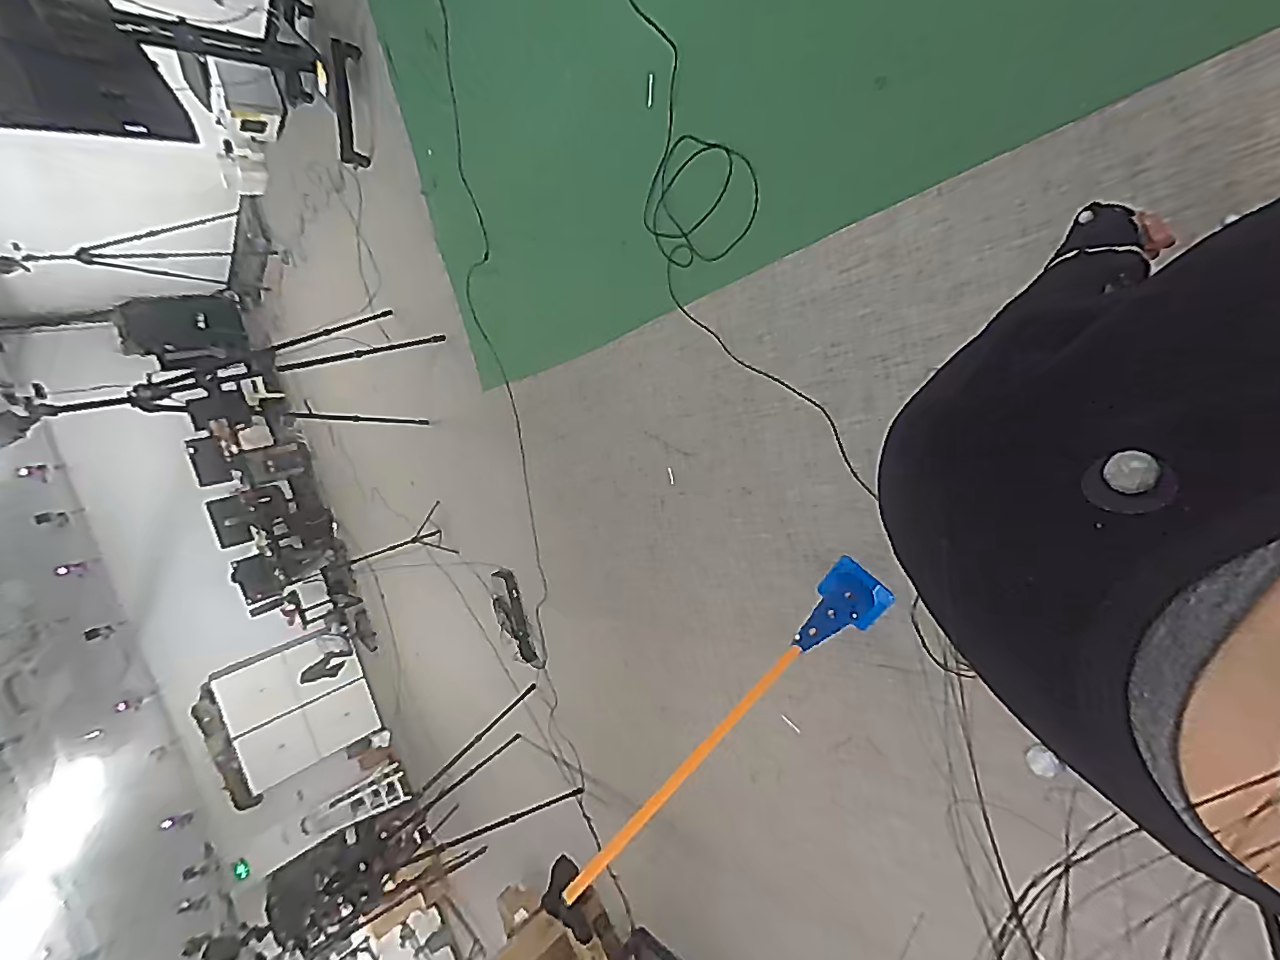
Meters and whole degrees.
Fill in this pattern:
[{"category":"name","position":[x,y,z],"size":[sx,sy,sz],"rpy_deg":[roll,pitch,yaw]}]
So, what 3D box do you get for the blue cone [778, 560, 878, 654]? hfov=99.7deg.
[{"category":"blue cone","position":[0.547,0.426,1.651],"size":[0.192,0.380,0.193],"rpy_deg":[42,135,26]}]
